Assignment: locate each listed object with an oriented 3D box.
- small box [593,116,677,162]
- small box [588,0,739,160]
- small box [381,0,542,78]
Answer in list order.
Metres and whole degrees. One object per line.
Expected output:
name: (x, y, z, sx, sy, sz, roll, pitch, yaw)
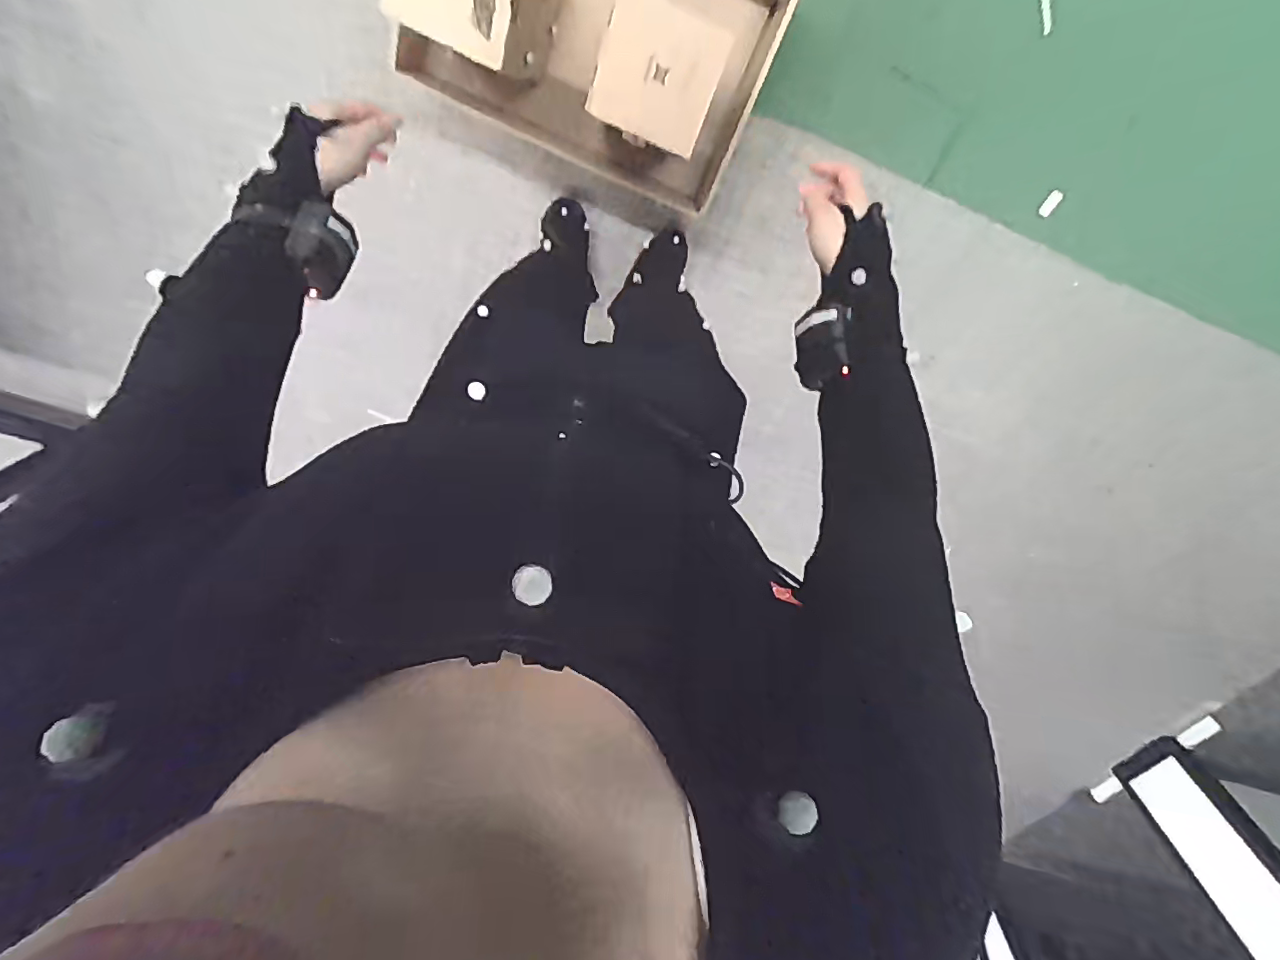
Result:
small box: (0.029, -0.713, 0.986, 0.168, 0.176, 0.179, 21, 122, -11)
small box: (0.033, -0.628, 0.847, 0.179, 0.176, 0.168, 18, 124, -10)
small box: (-0.246, -0.719, 0.790, 0.179, 0.176, 0.168, 20, 121, -11)
